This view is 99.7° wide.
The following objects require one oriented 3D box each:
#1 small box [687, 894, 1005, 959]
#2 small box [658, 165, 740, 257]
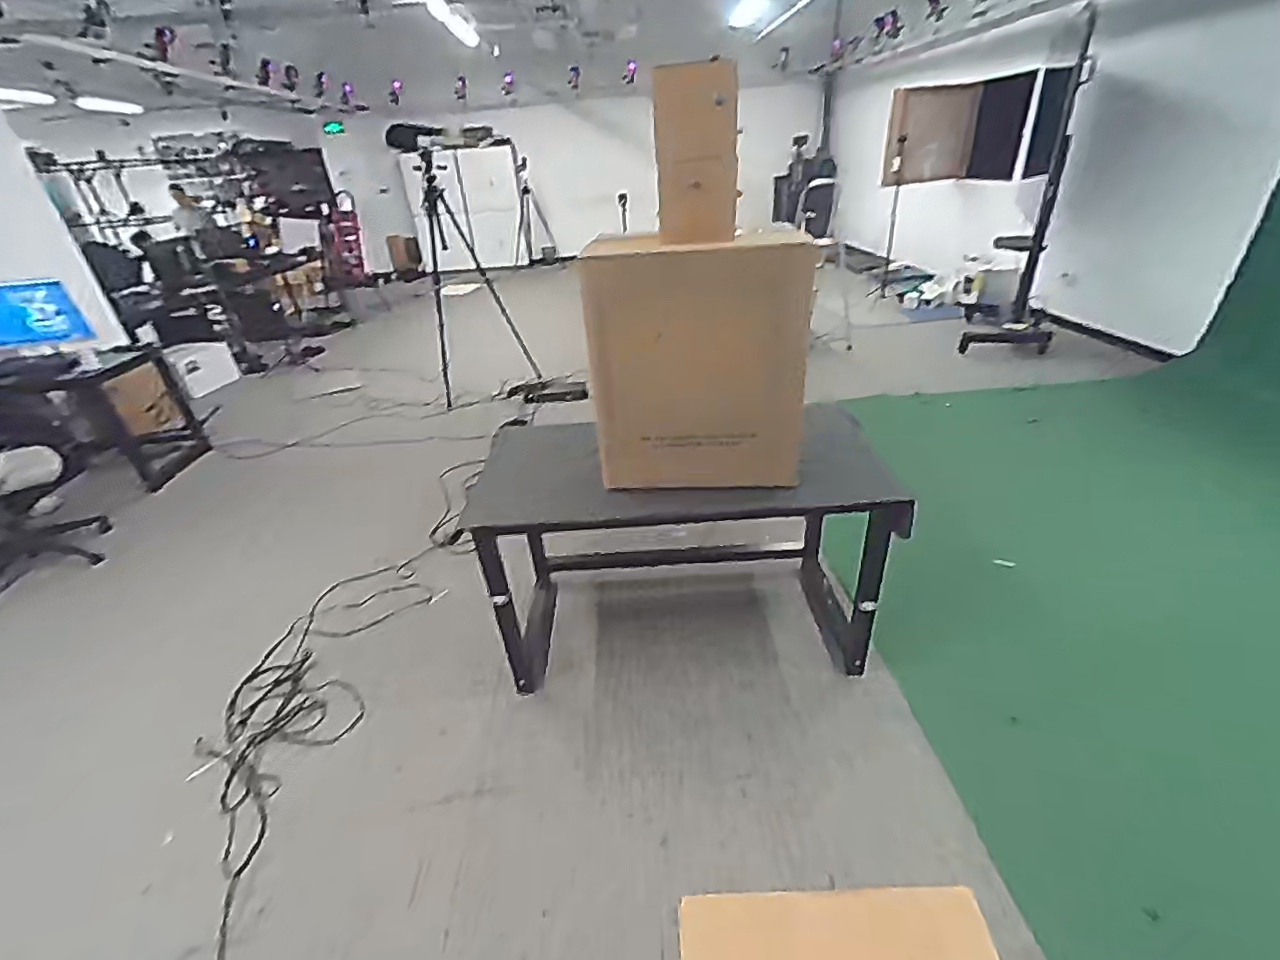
[{"bbox_3d":[0.119,0.361,0.317,0.179,0.176,0.168,-3,42,2],"label":"small box"},{"bbox_3d":[0.137,-0.627,1.259,0.179,0.176,0.168,-1,33,7],"label":"small box"}]
